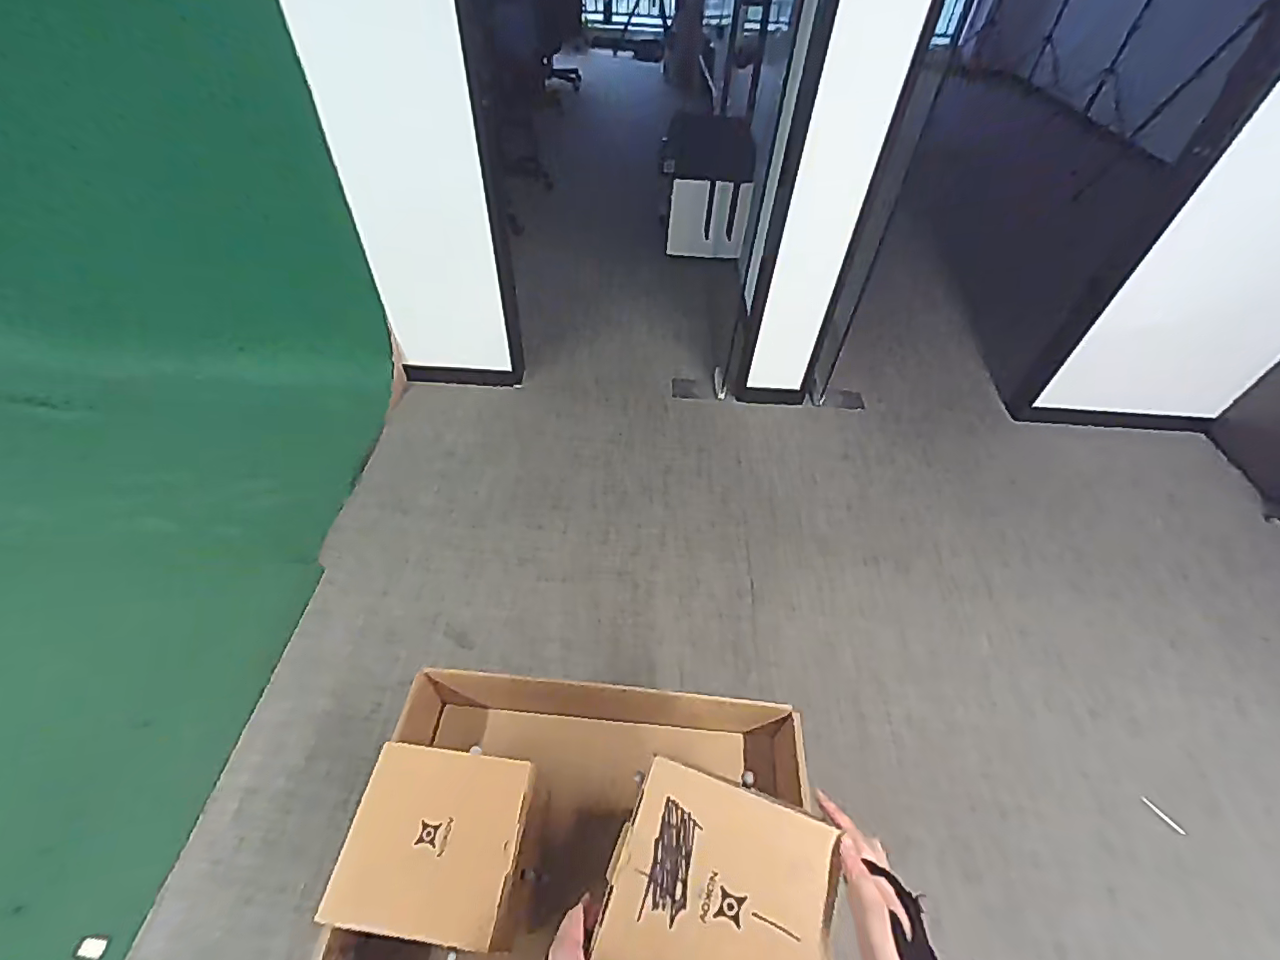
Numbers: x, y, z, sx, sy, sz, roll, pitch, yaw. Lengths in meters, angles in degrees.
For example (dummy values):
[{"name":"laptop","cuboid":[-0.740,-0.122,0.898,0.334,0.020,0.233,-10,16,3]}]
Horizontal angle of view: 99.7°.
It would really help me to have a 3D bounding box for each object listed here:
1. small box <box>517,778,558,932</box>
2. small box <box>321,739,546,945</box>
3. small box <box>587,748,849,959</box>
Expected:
[{"name":"small box","cuboid":[-0.221,0.519,0.760,0.179,0.176,0.168,7,49,2]},{"name":"small box","cuboid":[-0.217,0.422,0.629,0.179,0.176,0.168,7,49,2]},{"name":"small box","cuboid":[0.070,0.369,0.507,0.179,0.176,0.168,17,67,10]}]
